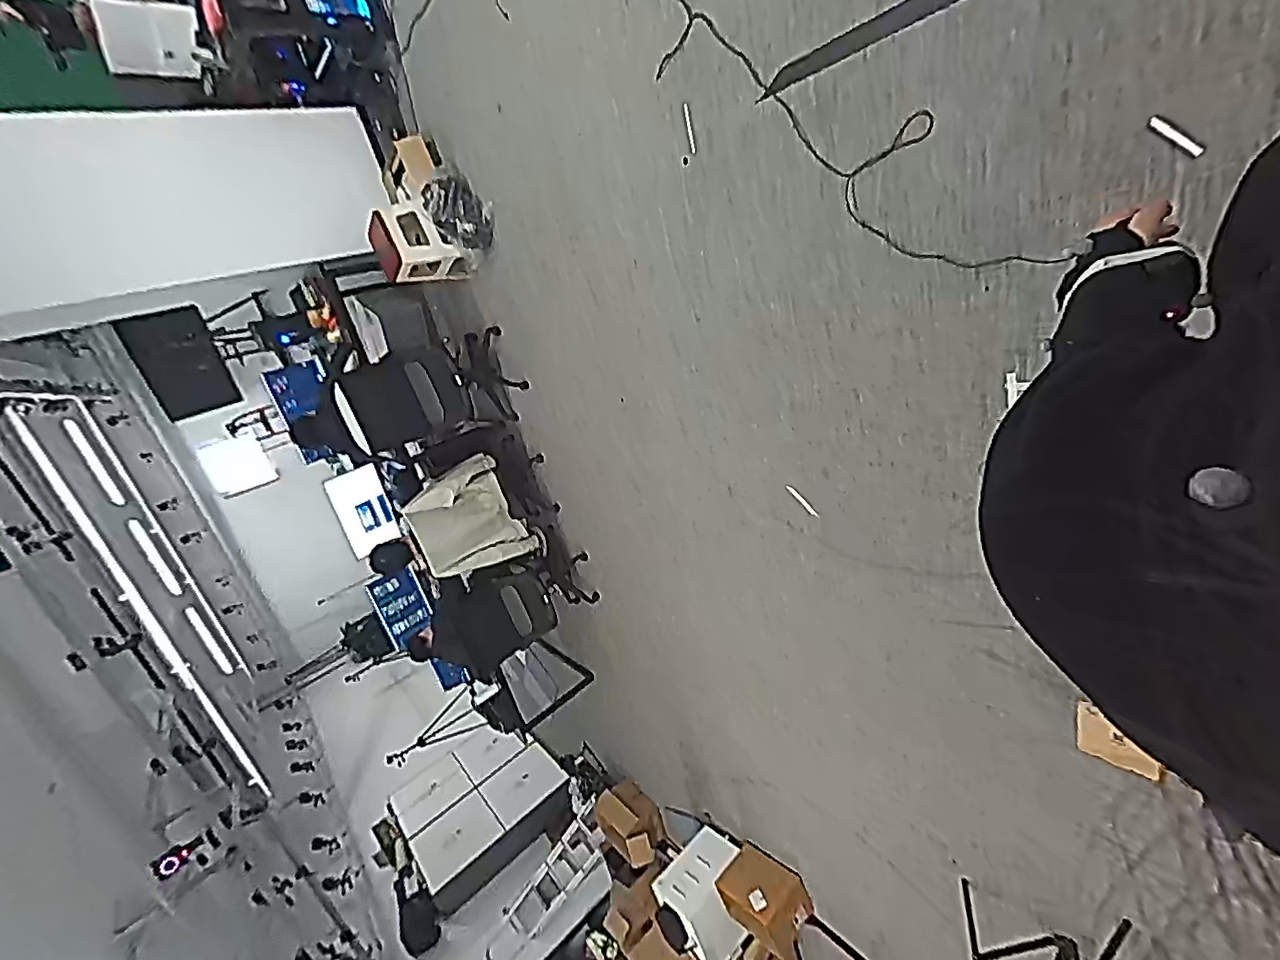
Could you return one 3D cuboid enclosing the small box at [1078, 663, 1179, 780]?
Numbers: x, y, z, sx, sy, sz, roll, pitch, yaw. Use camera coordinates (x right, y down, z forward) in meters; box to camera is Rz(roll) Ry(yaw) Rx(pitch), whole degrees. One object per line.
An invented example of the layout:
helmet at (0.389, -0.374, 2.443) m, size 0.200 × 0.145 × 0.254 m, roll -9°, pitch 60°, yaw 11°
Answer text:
small box at (1.258, 0.614, 1.394) m, size 0.168 × 0.176 × 0.179 m, roll 10°, pitch 123°, yaw 51°
